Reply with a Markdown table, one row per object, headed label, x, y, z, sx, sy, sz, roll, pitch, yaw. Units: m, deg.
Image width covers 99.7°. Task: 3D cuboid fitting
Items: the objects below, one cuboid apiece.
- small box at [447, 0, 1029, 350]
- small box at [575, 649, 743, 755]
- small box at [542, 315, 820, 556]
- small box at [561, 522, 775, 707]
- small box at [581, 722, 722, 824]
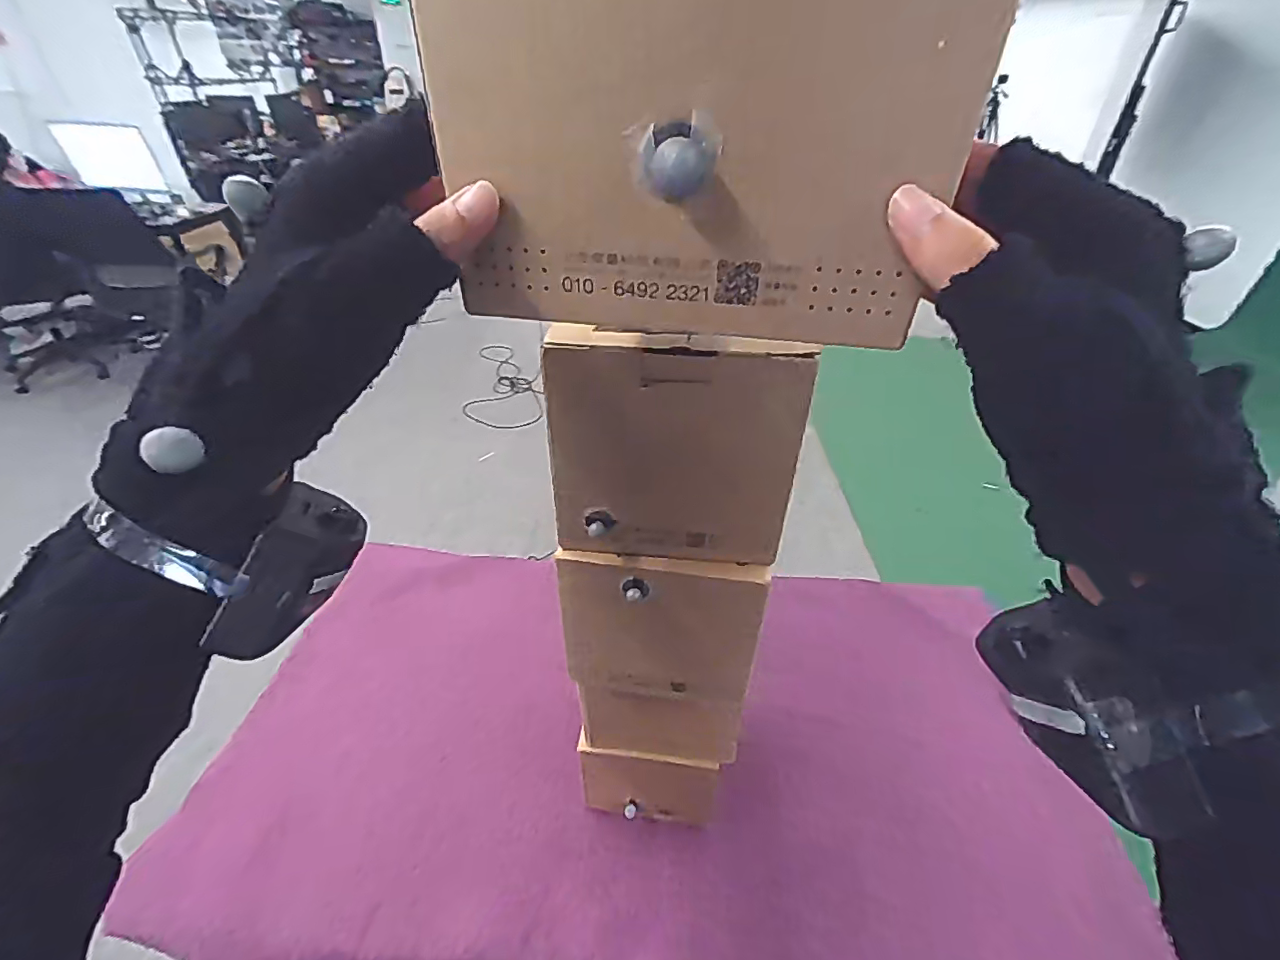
| label | x | y | z | sx | sy | sz | roll | pitch | yaw |
| --- | --- | --- | --- | --- | --- | --- | --- | --- | --- |
| small box | 0.031 | -0.169 | 0.215 | 0.168 | 0.176 | 0.179 | 7 | 39 | 8 |
| small box | 0.030 | 0.197 | 0.631 | 0.179 | 0.176 | 0.168 | 4 | 38 | 5 |
| small box | 0.030 | -0.059 | 0.425 | 0.168 | 0.176 | 0.179 | 4 | 36 | 3 |
| small box | 0.030 | 0.081 | 0.513 | 0.168 | 0.176 | 0.179 | 5 | 37 | 7 |
| small box | 0.022 | 0.326 | 0.728 | 0.168 | 0.176 | 0.179 | 5 | 38 | 6 |
